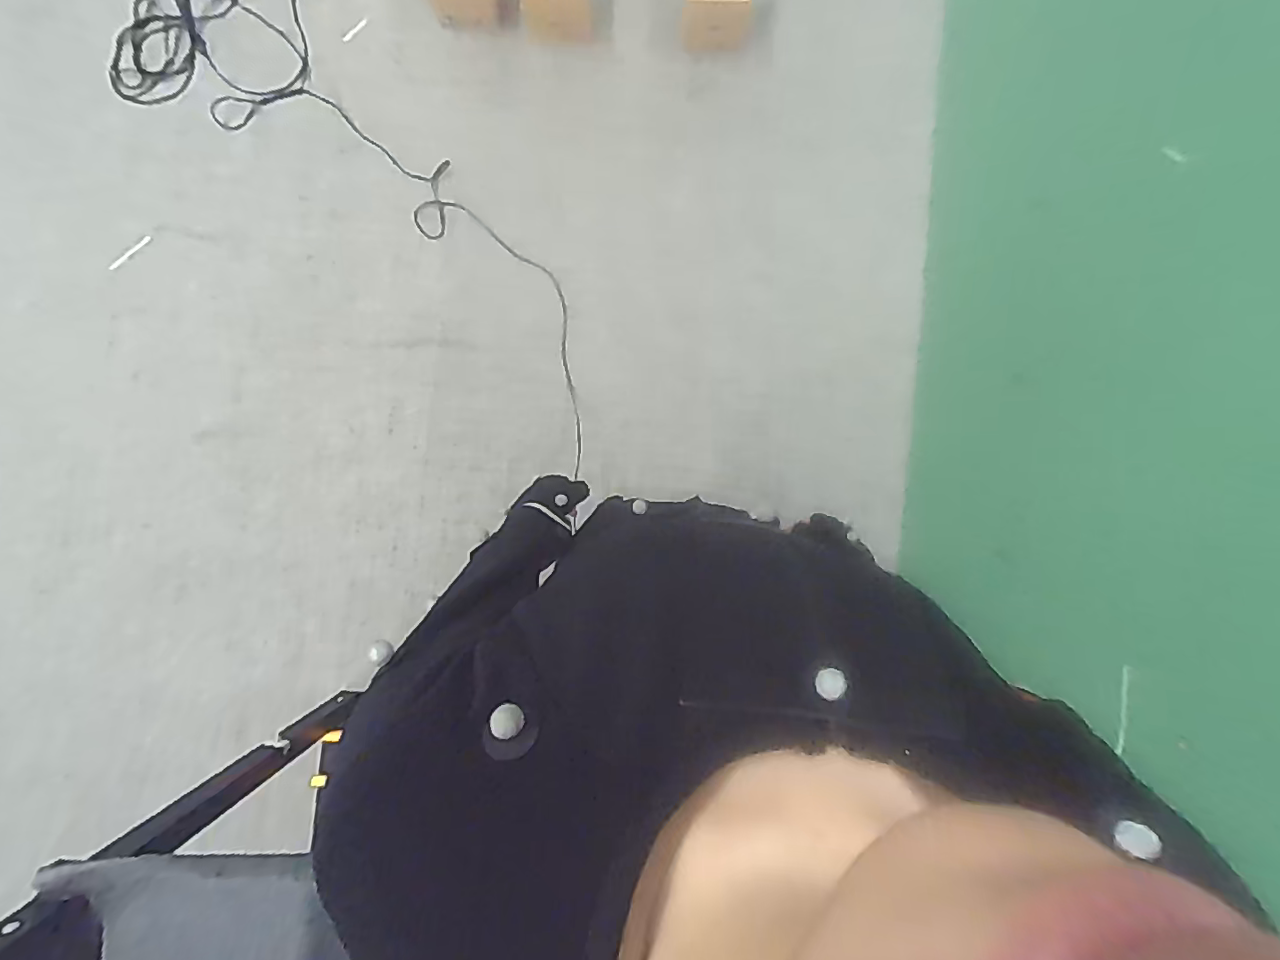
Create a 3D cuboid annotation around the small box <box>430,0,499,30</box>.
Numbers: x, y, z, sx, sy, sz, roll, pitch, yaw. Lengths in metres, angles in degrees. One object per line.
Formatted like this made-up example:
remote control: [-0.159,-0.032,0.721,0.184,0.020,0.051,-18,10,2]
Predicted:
small box: [-0.479,-1.359,1.451,0.168,0.176,0.179,2,87,-1]
